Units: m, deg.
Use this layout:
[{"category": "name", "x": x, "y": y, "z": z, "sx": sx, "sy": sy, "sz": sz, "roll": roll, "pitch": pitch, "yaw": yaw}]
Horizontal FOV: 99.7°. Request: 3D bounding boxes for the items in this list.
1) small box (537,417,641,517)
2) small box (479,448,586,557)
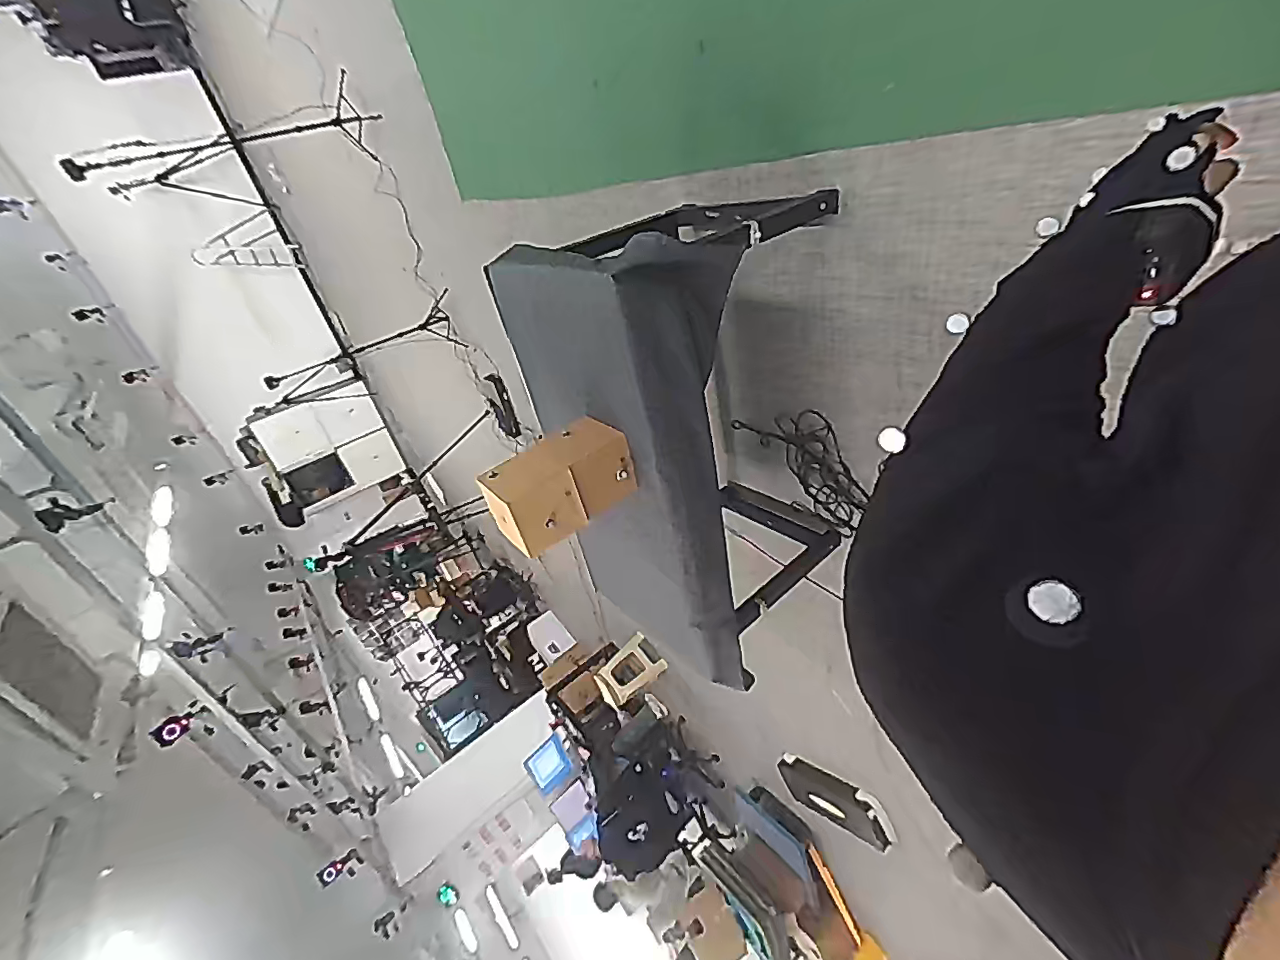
[{"category": "small box", "x": -0.124, "y": -0.041, "z": 1.345, "sx": 0.179, "sy": 0.176, "sz": 0.168, "roll": 27, "pitch": 142, "yaw": 46}, {"category": "small box", "x": -0.243, "y": 0.044, "z": 1.272, "sx": 0.179, "sy": 0.176, "sz": 0.168, "roll": 29, "pitch": 143, "yaw": 48}]
